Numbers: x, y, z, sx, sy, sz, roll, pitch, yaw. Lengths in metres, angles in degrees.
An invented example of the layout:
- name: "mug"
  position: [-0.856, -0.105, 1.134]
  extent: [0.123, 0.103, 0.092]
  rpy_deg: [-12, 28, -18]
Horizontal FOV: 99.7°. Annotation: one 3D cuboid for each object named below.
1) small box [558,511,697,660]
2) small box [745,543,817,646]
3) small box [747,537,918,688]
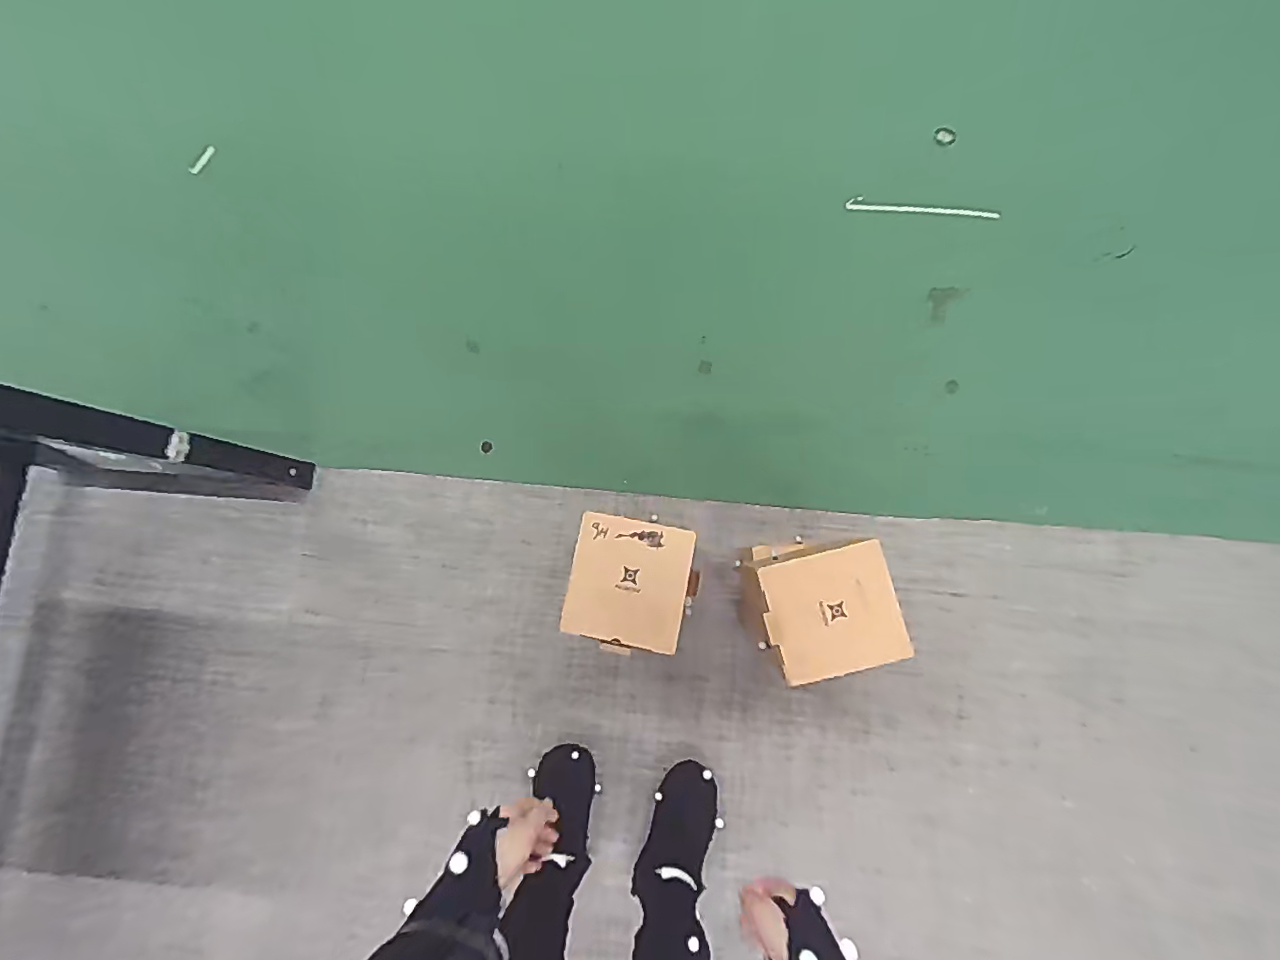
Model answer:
- name: "small box"
  position: [-0.010, 0.153, 0.816]
  extent: [0.168, 0.176, 0.179]
  rpy_deg: [11, 83, 5]
- name: "small box"
  position: [0.283, 0.198, 0.959]
  extent: [0.179, 0.176, 0.168]
  rpy_deg: [-3, 82, 2]
- name: "small box"
  position: [0.266, 0.186, 0.798]
  extent: [0.179, 0.176, 0.168]
  rpy_deg: [-15, 83, 0]
